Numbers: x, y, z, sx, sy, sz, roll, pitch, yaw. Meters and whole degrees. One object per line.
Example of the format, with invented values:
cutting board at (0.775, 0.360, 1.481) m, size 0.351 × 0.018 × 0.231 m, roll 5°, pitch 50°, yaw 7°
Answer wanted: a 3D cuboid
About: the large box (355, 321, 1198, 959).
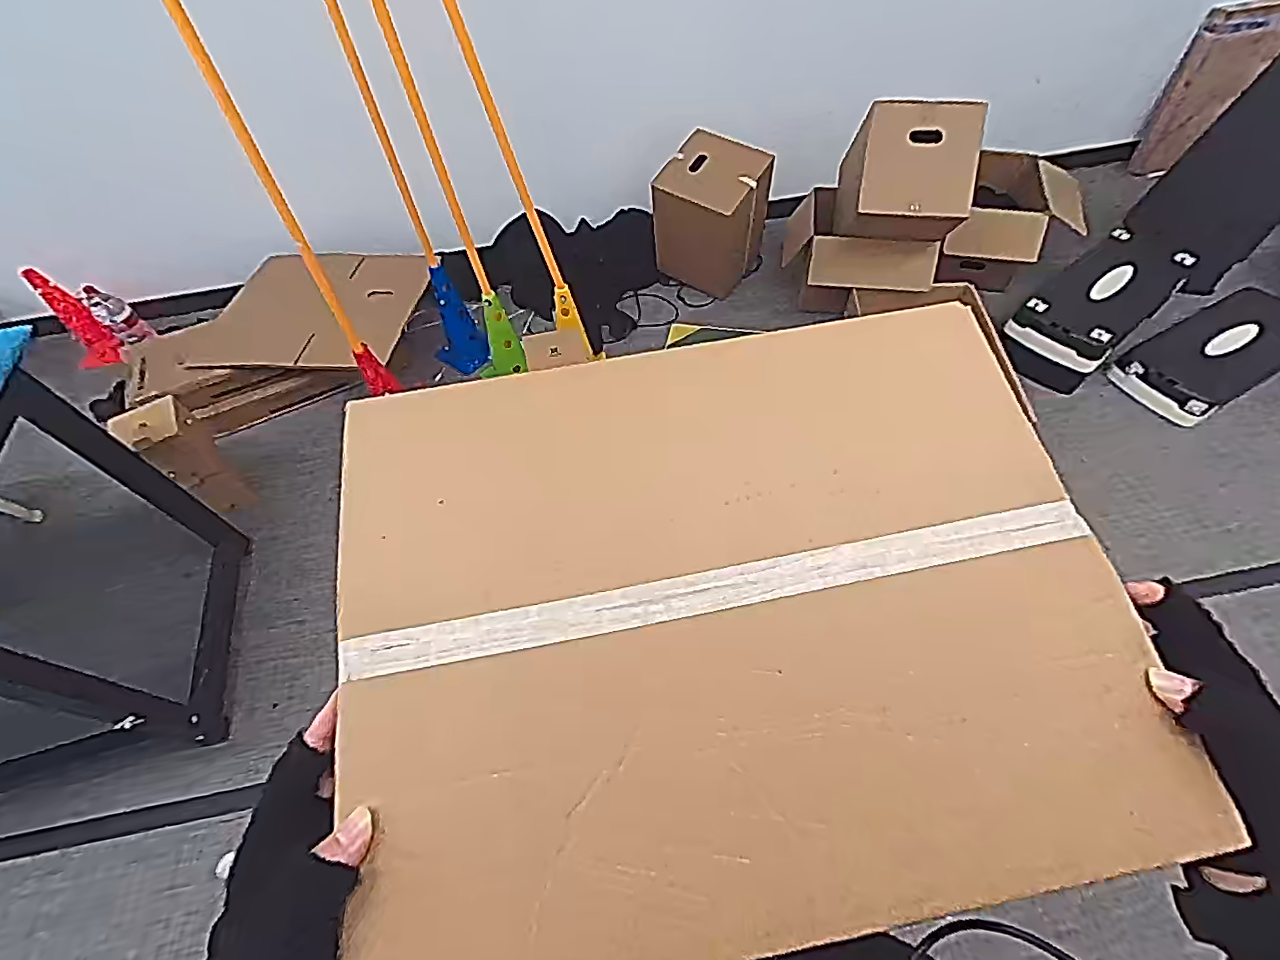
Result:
large box at (0.049, 0.123, 0.436) m, size 0.408 × 0.320 × 0.320 m, roll -11°, pitch 67°, yaw -3°
